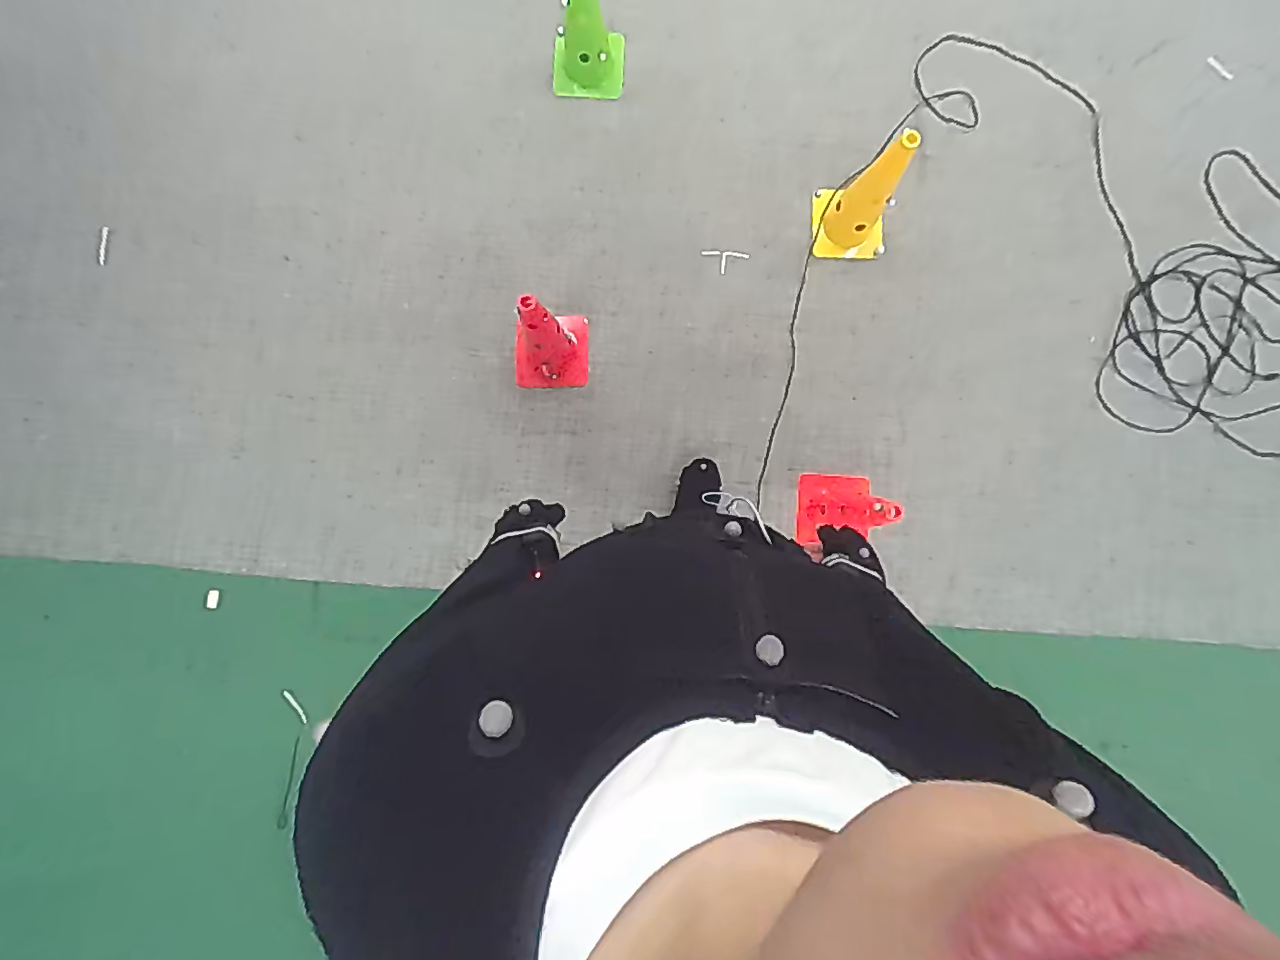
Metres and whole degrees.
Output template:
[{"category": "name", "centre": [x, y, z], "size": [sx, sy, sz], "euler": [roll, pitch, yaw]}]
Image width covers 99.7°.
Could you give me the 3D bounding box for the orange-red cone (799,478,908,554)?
[{"category": "orange-red cone", "centre": [0.540, 0.084, 1.309], "size": [0.198, 0.360, 0.199], "euler": [5, 85, -1]}]

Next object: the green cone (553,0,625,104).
[{"category": "green cone", "centre": [-0.143, -1.197, 1.394], "size": [0.202, 0.368, 0.200], "euler": [3, 87, -1]}]

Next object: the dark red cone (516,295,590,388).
[{"category": "dark red cone", "centre": [-0.235, -0.359, 1.312], "size": [0.202, 0.394, 0.201], "euler": [-1, 87, 0]}]
